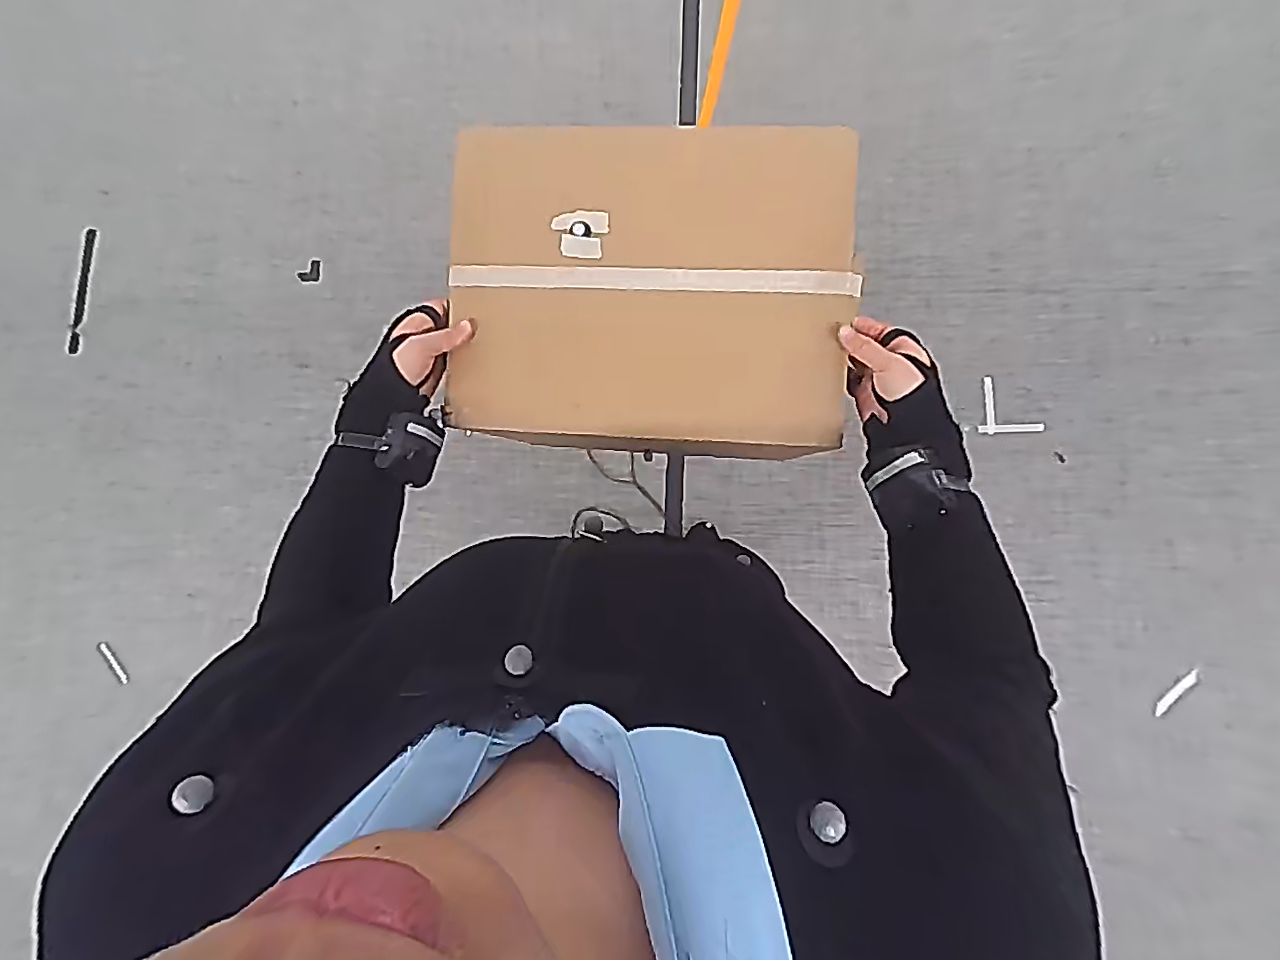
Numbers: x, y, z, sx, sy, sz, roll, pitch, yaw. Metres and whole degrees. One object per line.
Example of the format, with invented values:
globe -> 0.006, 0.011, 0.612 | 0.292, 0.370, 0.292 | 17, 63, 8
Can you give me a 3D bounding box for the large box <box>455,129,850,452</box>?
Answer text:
large box -> 0.024, -0.199, 0.700 | 0.408, 0.320, 0.320 | 3, 89, 6
